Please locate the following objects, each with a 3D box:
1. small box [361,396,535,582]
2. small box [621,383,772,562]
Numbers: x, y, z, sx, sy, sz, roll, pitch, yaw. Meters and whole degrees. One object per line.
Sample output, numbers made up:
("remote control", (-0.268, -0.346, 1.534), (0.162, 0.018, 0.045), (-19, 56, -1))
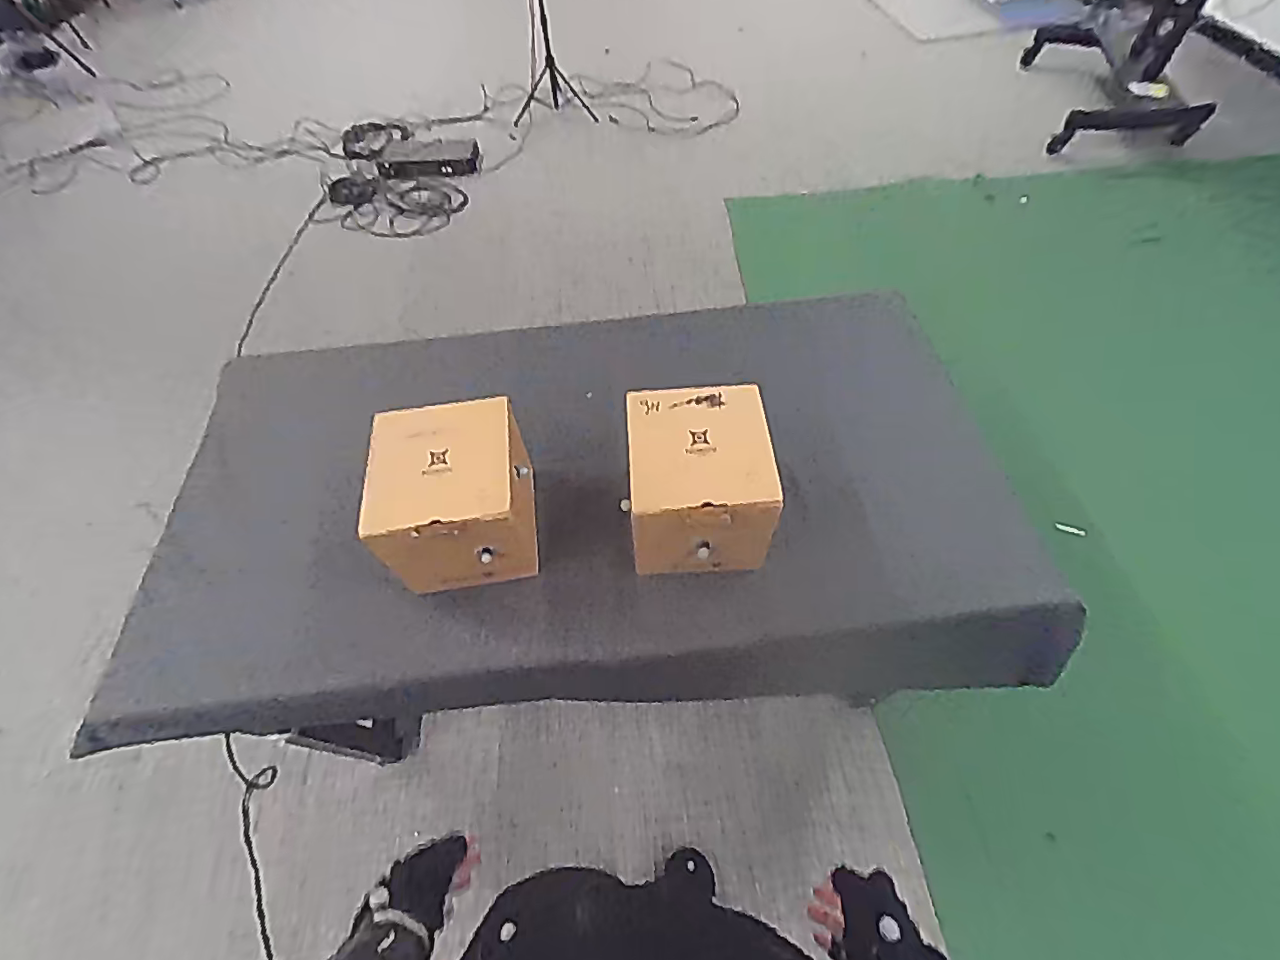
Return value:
("small box", (-0.236, 0.020, 0.705), (0.168, 0.176, 0.179), (-9, 57, -4))
("small box", (0.066, -0.001, 0.700), (0.168, 0.176, 0.179), (-4, 58, 1))
